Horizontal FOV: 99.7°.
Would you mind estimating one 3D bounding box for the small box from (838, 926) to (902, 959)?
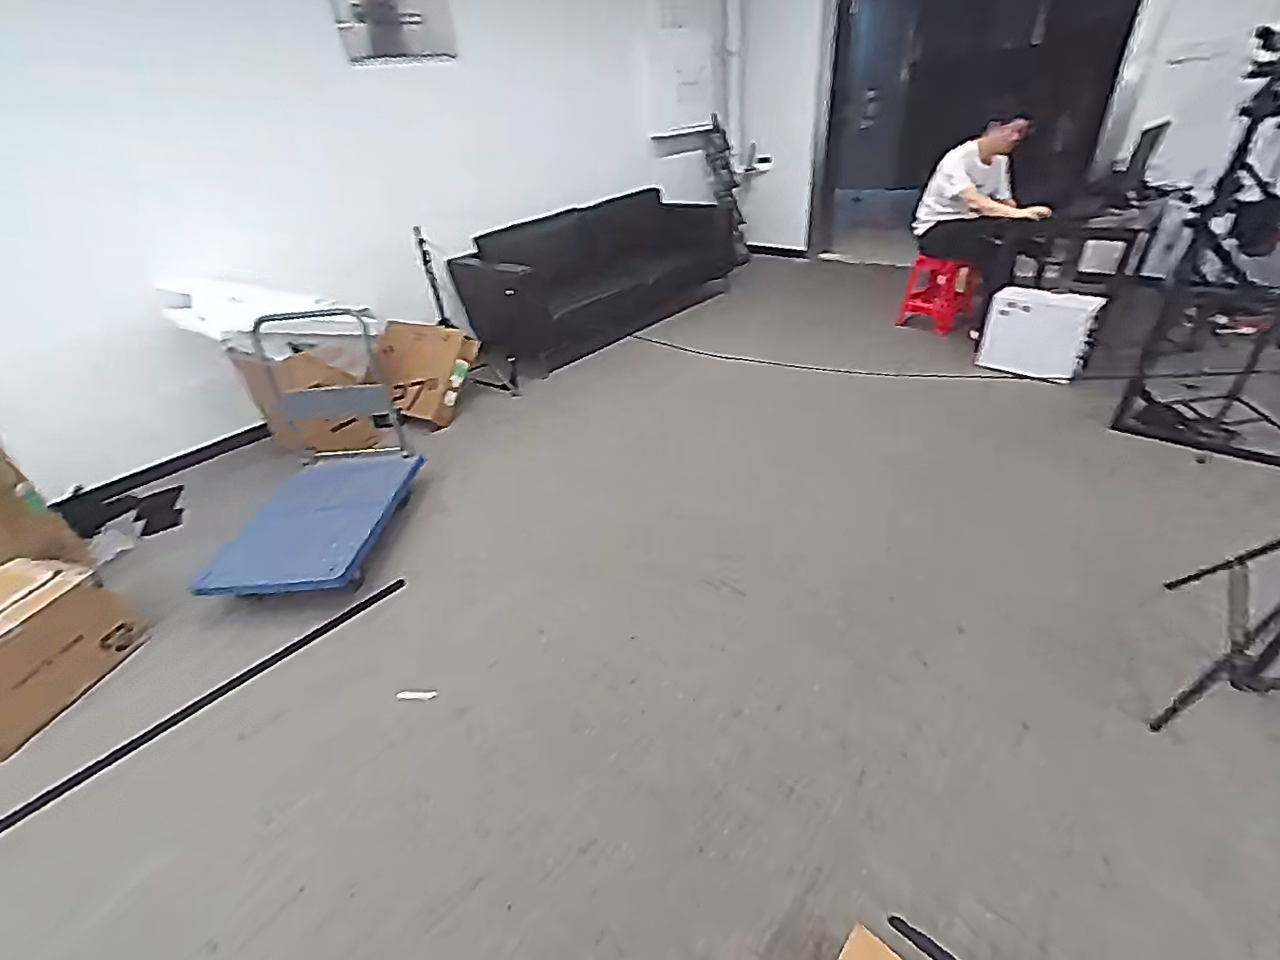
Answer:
[{"bbox_3d":[0.413,0.940,0.935,0.179,0.176,0.168,26,45,38],"label":"small box"}]
